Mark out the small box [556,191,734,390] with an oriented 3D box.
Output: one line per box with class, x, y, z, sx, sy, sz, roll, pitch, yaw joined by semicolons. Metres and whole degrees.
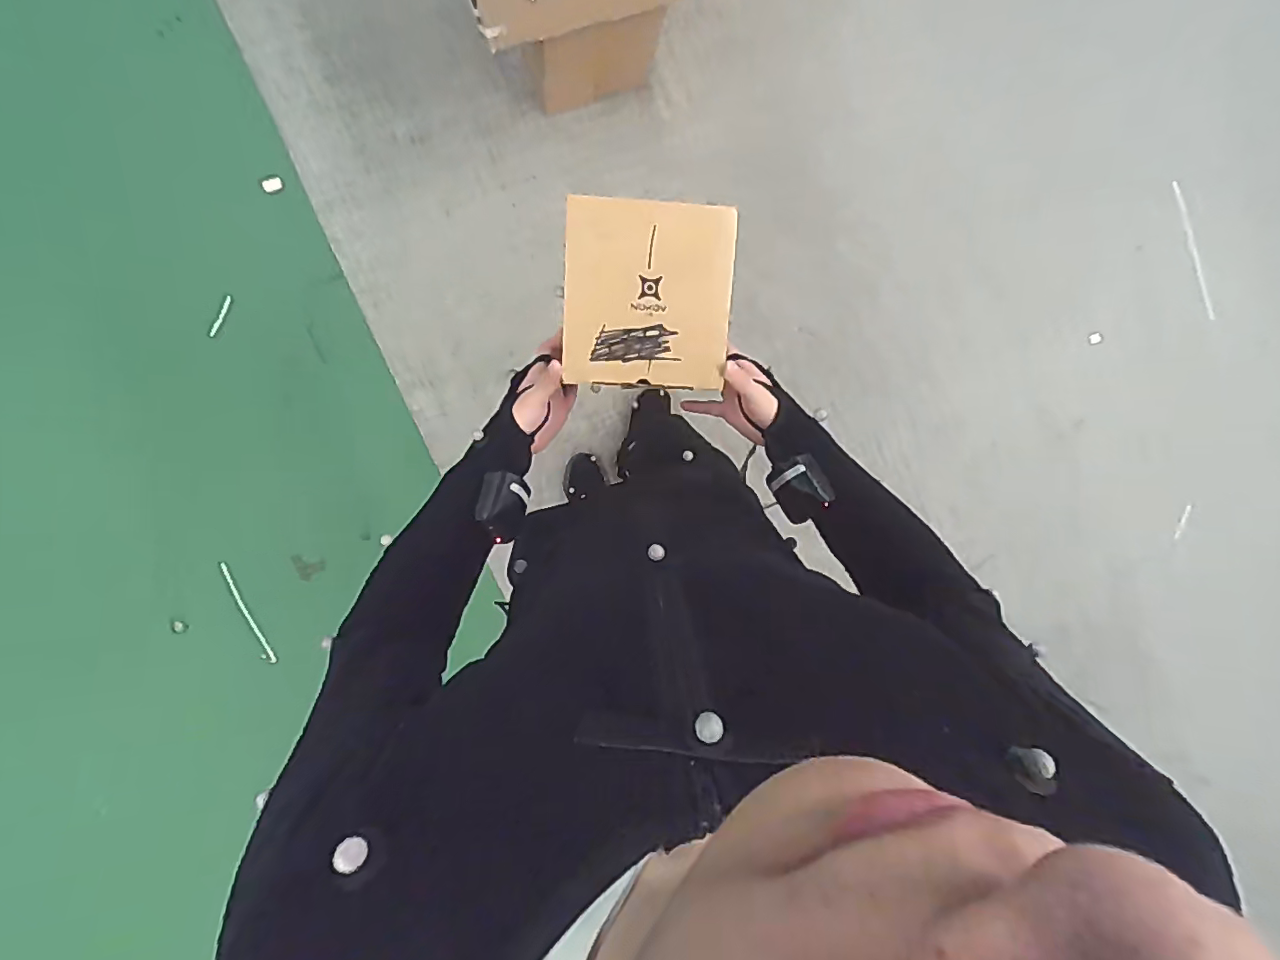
small box;-0.001;-0.198;0.606;0.168;0.176;0.179;3;101;-5
